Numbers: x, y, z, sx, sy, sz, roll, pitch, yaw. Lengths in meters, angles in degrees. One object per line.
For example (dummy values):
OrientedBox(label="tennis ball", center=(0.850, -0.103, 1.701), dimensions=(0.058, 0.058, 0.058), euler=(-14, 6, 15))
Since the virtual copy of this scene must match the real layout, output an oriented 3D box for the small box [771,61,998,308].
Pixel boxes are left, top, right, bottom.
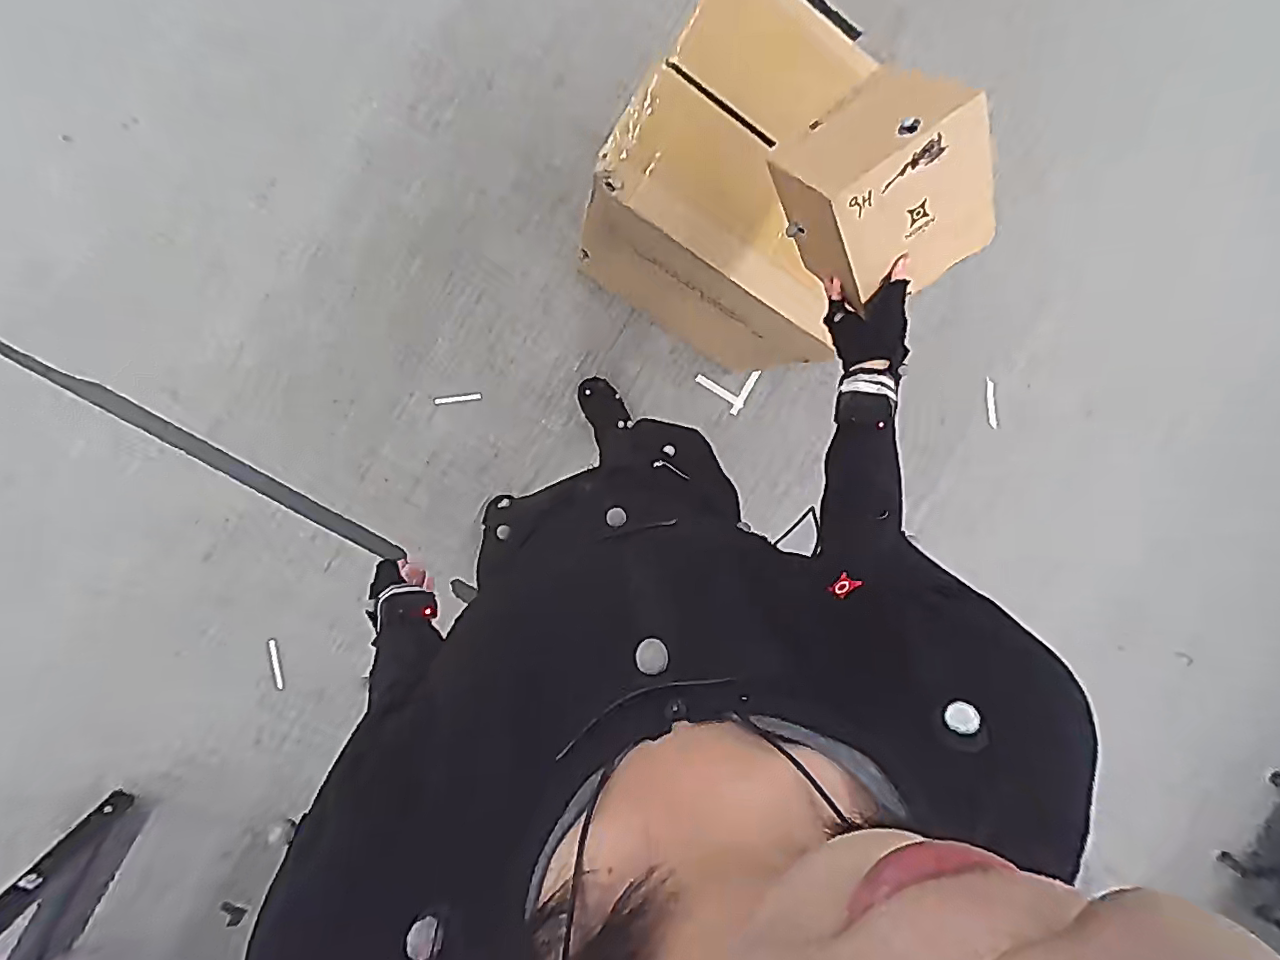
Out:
OrientedBox(label="small box", center=(0.283, -0.348, 0.638), dimensions=(0.168, 0.176, 0.179), euler=(-33, 134, 13))
